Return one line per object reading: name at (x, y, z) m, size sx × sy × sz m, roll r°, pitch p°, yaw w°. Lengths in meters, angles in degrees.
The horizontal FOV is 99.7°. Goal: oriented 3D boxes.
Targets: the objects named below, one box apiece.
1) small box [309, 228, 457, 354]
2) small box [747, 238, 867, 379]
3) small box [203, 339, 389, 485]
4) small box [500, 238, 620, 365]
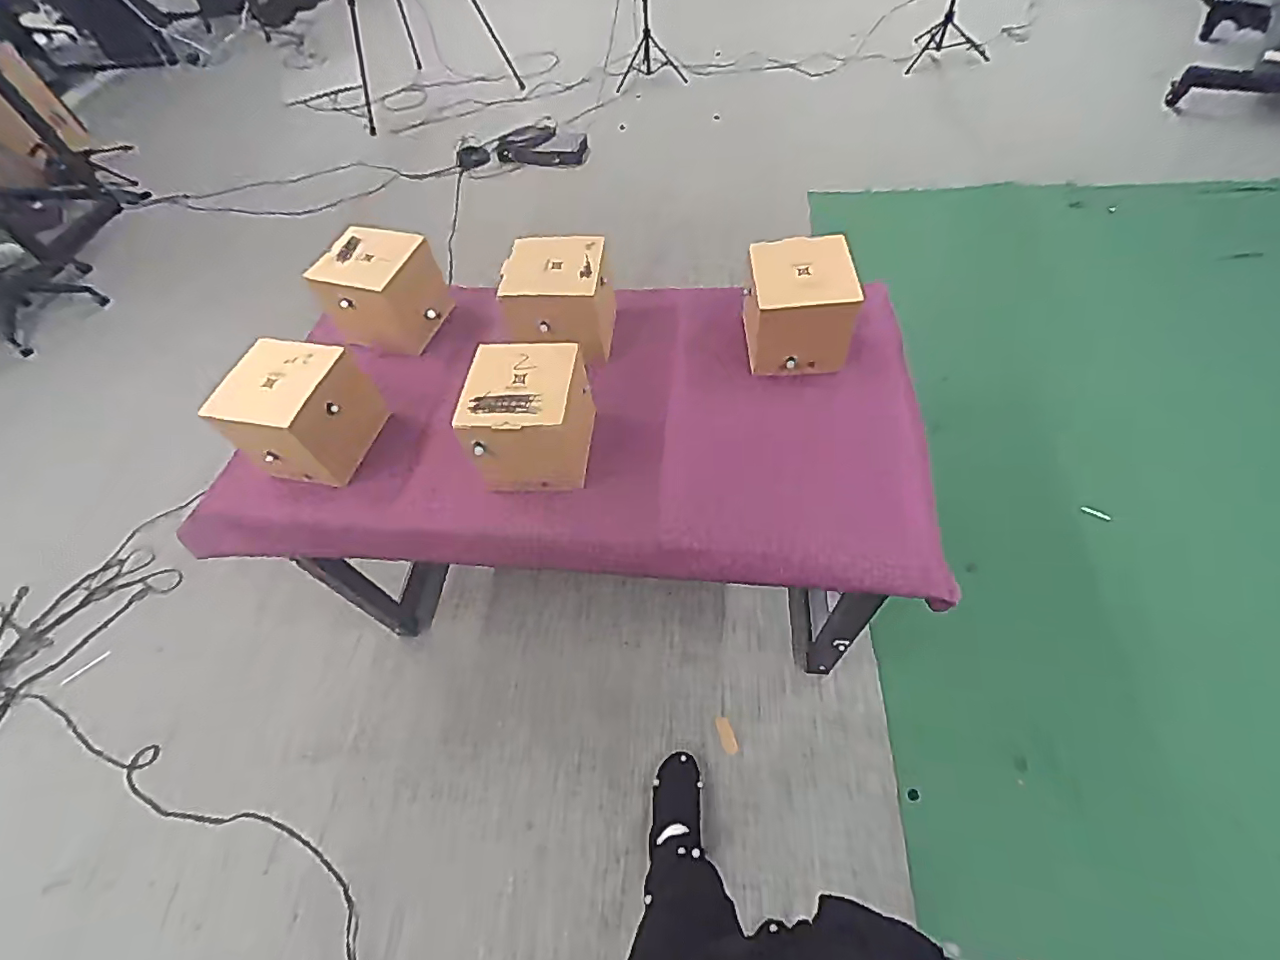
small box at (-0.505, -0.377, 1.090) m, size 0.179 × 0.176 × 0.168 m, roll 13°, pitch 60°, yaw 12°
small box at (0.286, -0.303, 0.968) m, size 0.168 × 0.176 × 0.179 m, roll -3°, pitch 58°, yaw 6°
small box at (-0.565, -0.112, 0.921) m, size 0.168 × 0.176 × 0.179 m, roll 9°, pitch 58°, yaw 11°
small box at (-0.142, -0.335, 1.030) m, size 0.179 × 0.176 × 0.168 m, roll 1°, pitch 59°, yaw 7°
